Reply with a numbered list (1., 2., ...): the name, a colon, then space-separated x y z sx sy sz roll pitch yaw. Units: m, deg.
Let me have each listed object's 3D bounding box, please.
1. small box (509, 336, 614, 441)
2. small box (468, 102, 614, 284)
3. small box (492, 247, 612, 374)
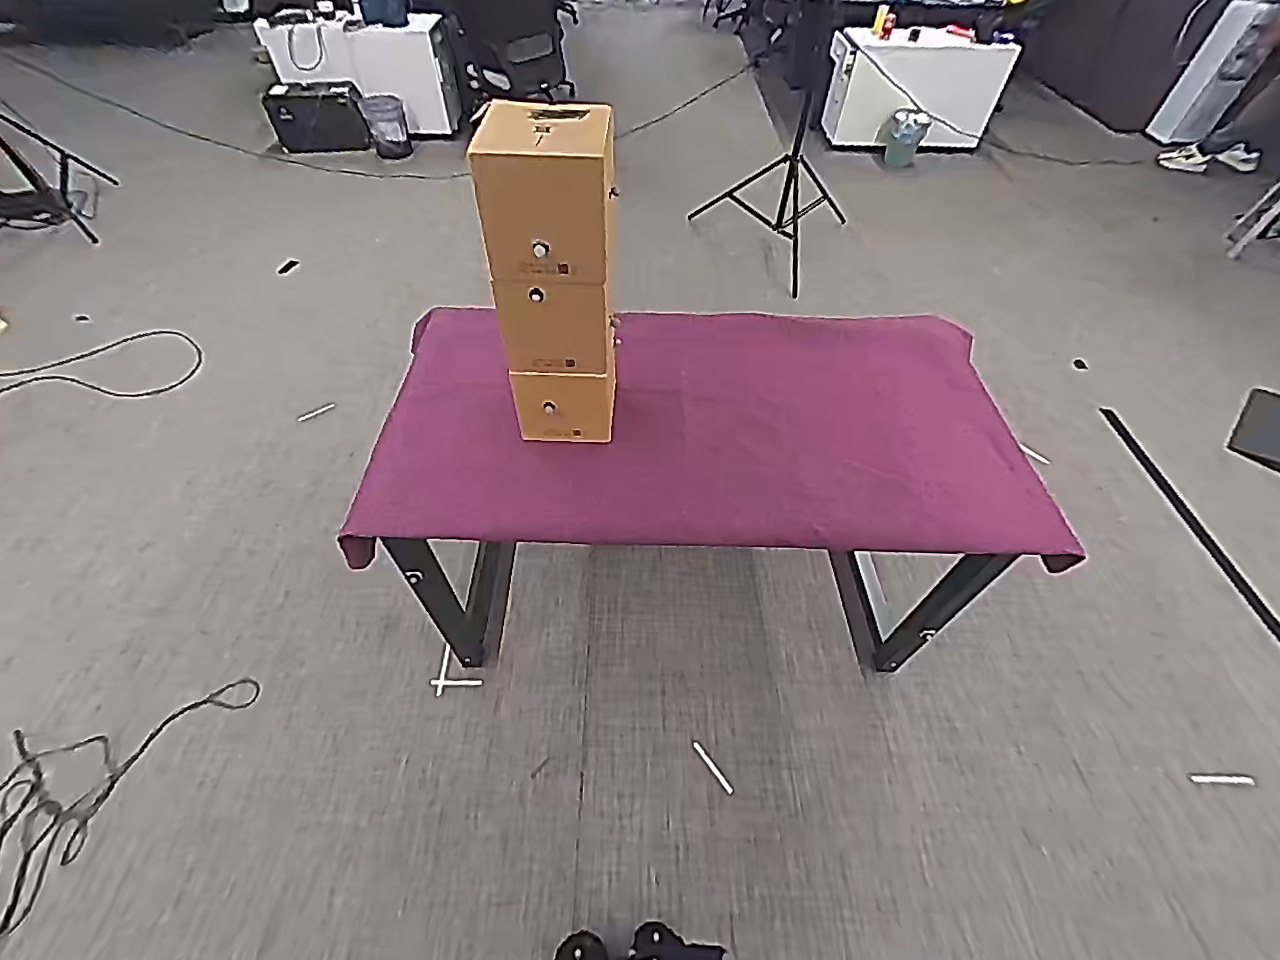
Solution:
1. small box: -0.136 -0.189 1.008 0.168 0.176 0.179 2 51 0
2. small box: -0.124 -0.398 0.755 0.168 0.176 0.179 2 52 0
3. small box: -0.132 -0.296 0.884 0.168 0.176 0.179 1 50 0
